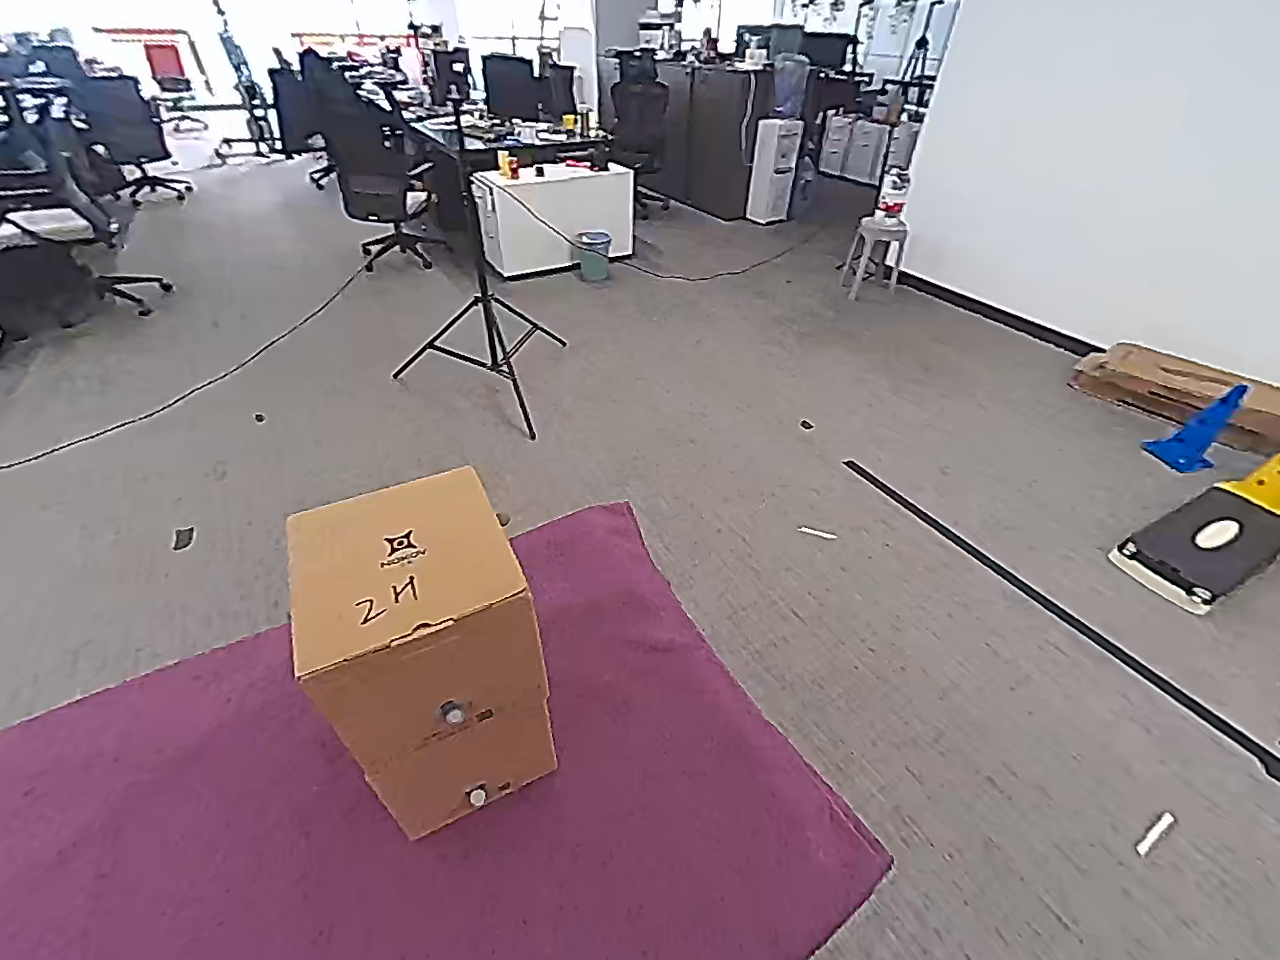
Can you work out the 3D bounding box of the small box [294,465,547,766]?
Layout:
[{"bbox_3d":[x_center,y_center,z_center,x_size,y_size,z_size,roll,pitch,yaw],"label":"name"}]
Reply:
[{"bbox_3d":[-0.195,0.118,0.497,0.168,0.176,0.179,-18,44,-21],"label":"small box"}]

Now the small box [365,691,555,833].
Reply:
[{"bbox_3d":[-0.202,0.245,0.603,0.168,0.176,0.179,-18,44,-21],"label":"small box"}]
